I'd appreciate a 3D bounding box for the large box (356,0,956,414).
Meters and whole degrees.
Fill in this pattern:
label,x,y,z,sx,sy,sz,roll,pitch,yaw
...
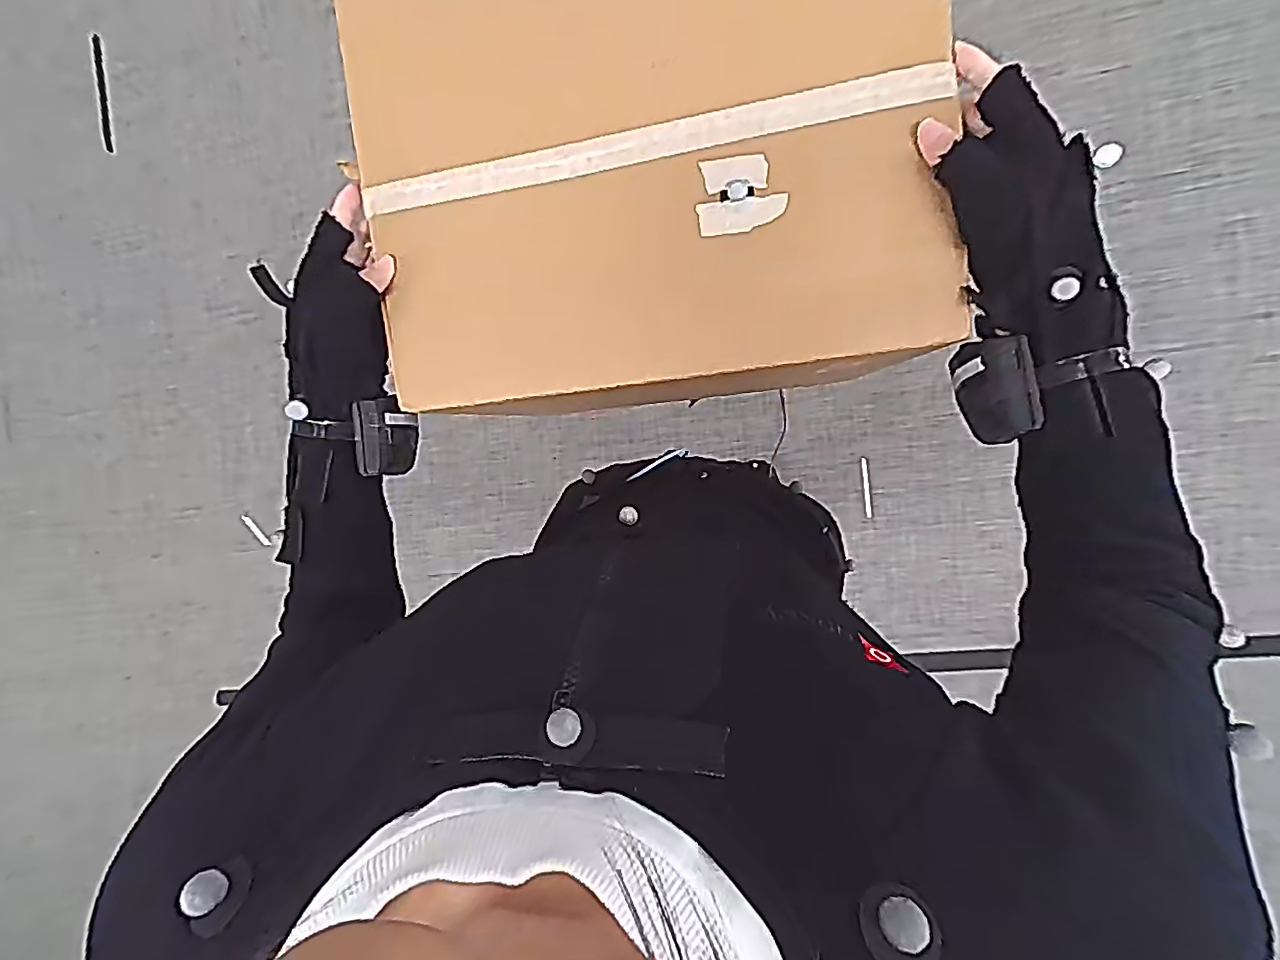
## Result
label,x,y,z,sx,sy,sz,roll,pitch,yaw
large box,0.021,-0.245,0.528,0.408,0.320,0.320,-6,96,9
